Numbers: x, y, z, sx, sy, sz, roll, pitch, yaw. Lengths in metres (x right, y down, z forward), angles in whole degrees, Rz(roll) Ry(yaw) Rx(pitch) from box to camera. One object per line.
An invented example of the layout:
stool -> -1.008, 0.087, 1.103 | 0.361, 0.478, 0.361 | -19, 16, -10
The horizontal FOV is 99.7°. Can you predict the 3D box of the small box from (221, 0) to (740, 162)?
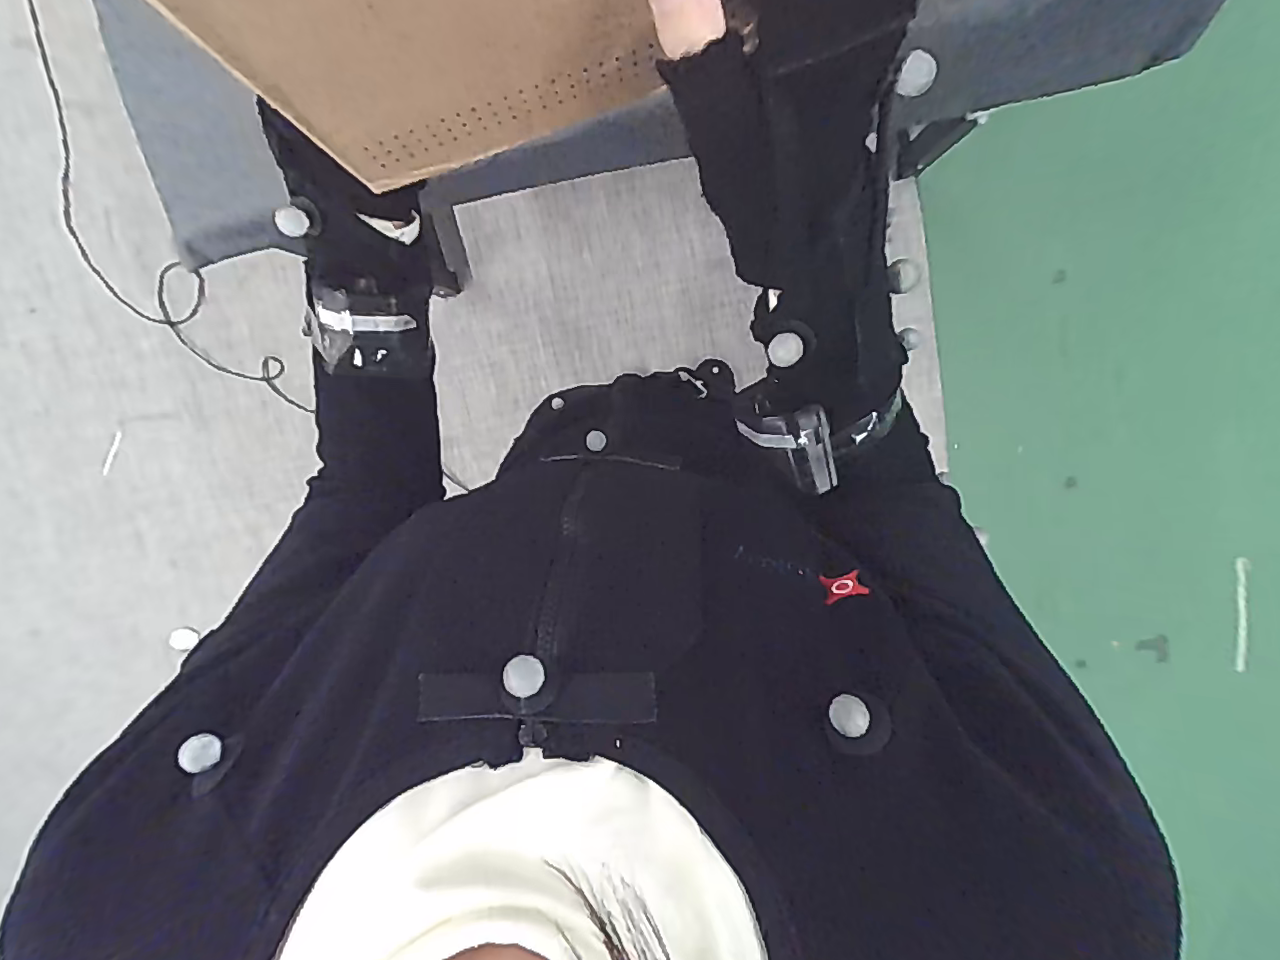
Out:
small box -> -0.062, -0.230, 0.154 | 0.179, 0.176, 0.168 | -18, 95, 3
